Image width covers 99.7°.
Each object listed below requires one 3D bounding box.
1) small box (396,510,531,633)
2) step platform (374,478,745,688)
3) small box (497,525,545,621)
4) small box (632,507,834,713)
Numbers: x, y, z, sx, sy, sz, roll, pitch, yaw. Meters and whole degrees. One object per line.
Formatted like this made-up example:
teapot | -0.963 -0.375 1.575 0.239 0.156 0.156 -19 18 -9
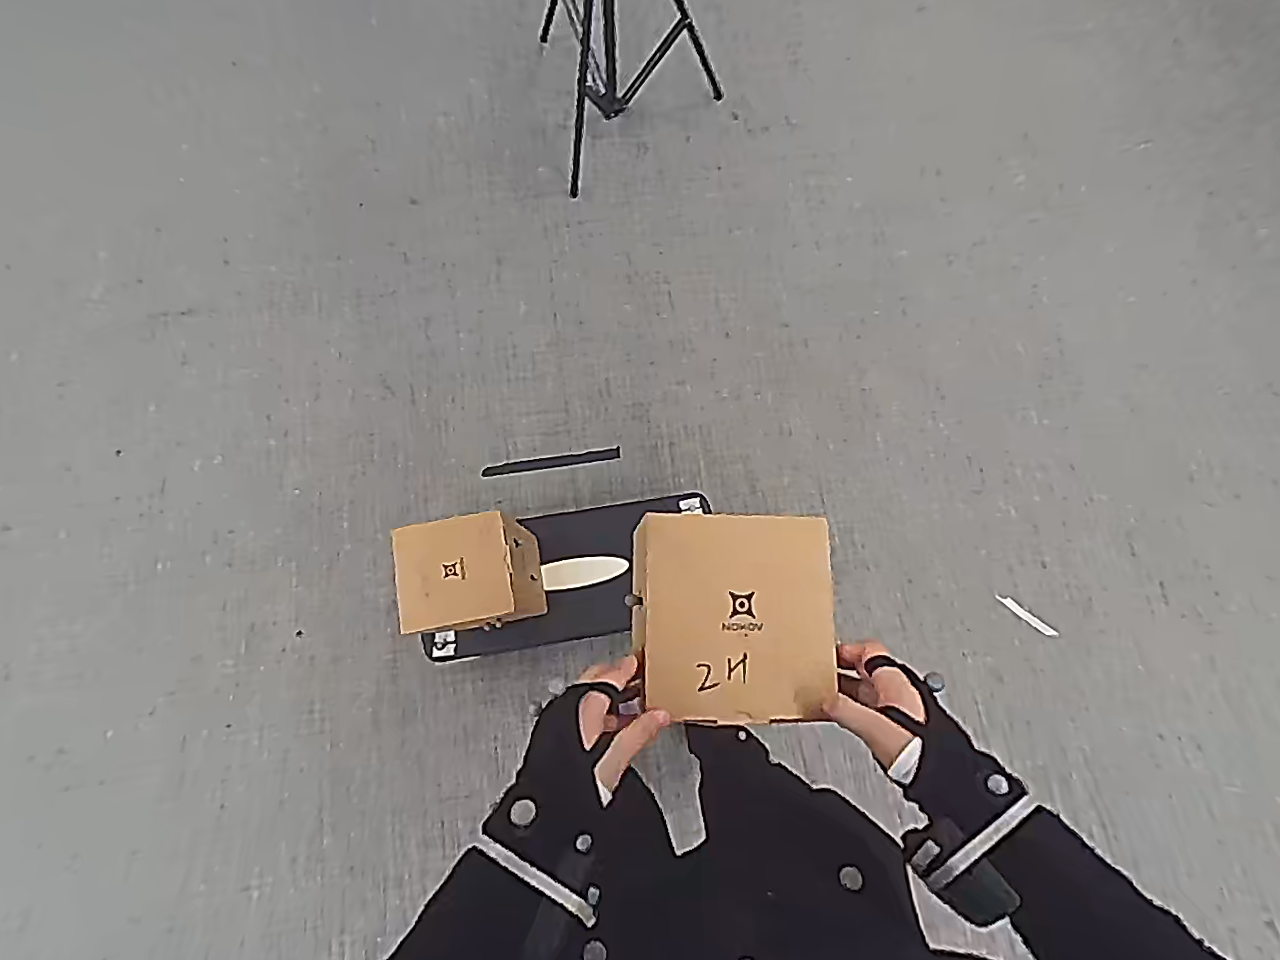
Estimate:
small box | -0.289 0.159 0.921 0.179 0.176 0.168 -11 76 -4
step platform | -0.128 0.198 1.046 0.684 0.204 0.286 -8 76 -4
small box | -0.292 0.196 1.081 0.179 0.176 0.168 -11 77 -3
small box | 0.080 0.128 0.552 0.168 0.176 0.179 2 79 -4
